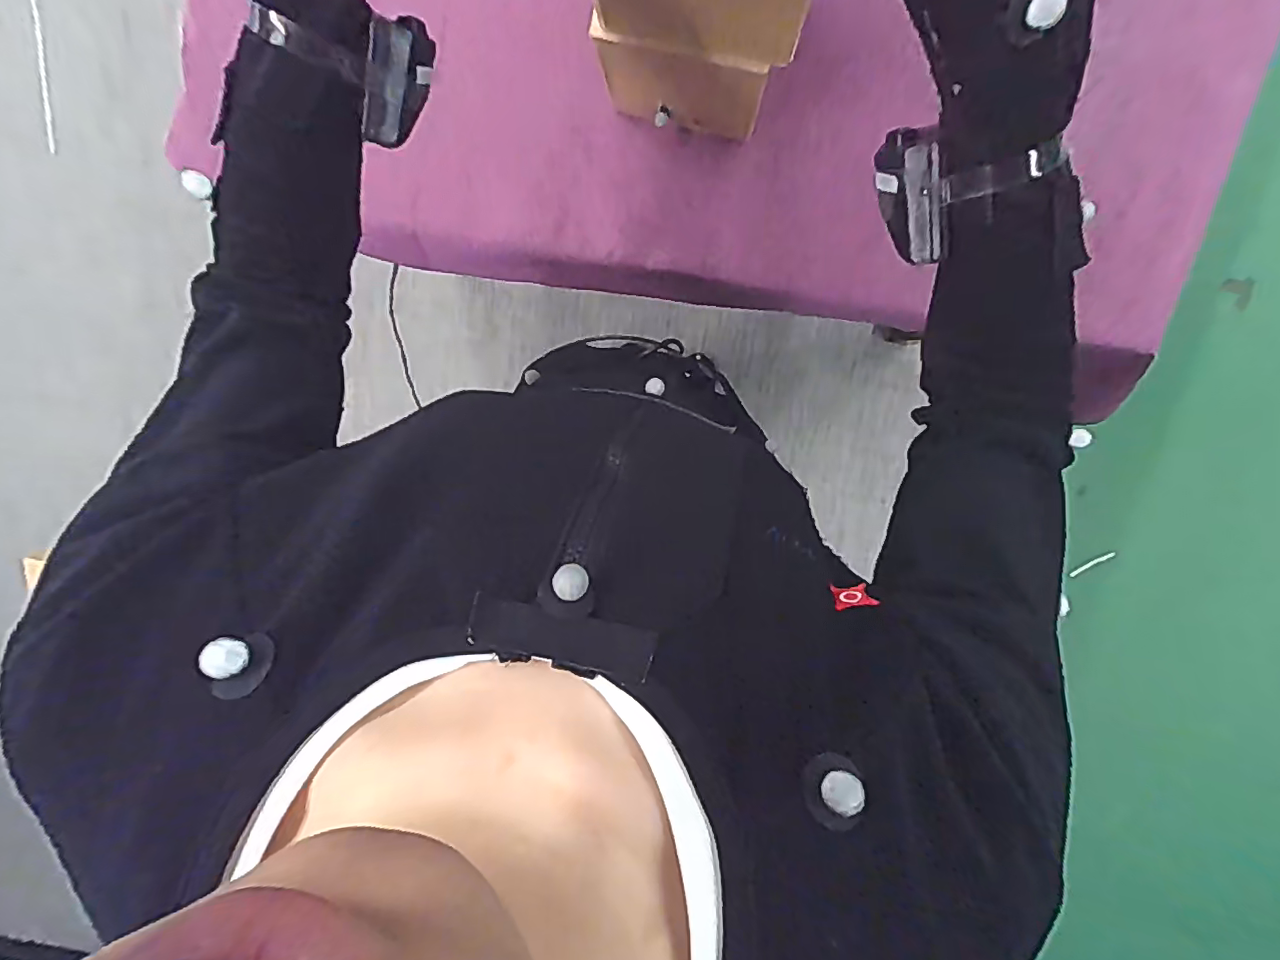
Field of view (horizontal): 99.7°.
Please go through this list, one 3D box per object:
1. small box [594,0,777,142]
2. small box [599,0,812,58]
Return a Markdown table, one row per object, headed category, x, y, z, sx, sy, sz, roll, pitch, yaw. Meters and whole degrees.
| category | x | y | z | sx | sy | sz | roll | pitch | yaw |
| --- | --- | --- | --- | --- | --- | --- | --- | --- | --- |
| small box | 0.063 | -0.474 | 0.534 | 0.168 | 0.176 | 0.179 | 14 | 105 | 2 |
| small box | 0.057 | -0.437 | 0.376 | 0.179 | 0.176 | 0.168 | 12 | 104 | 2 |
